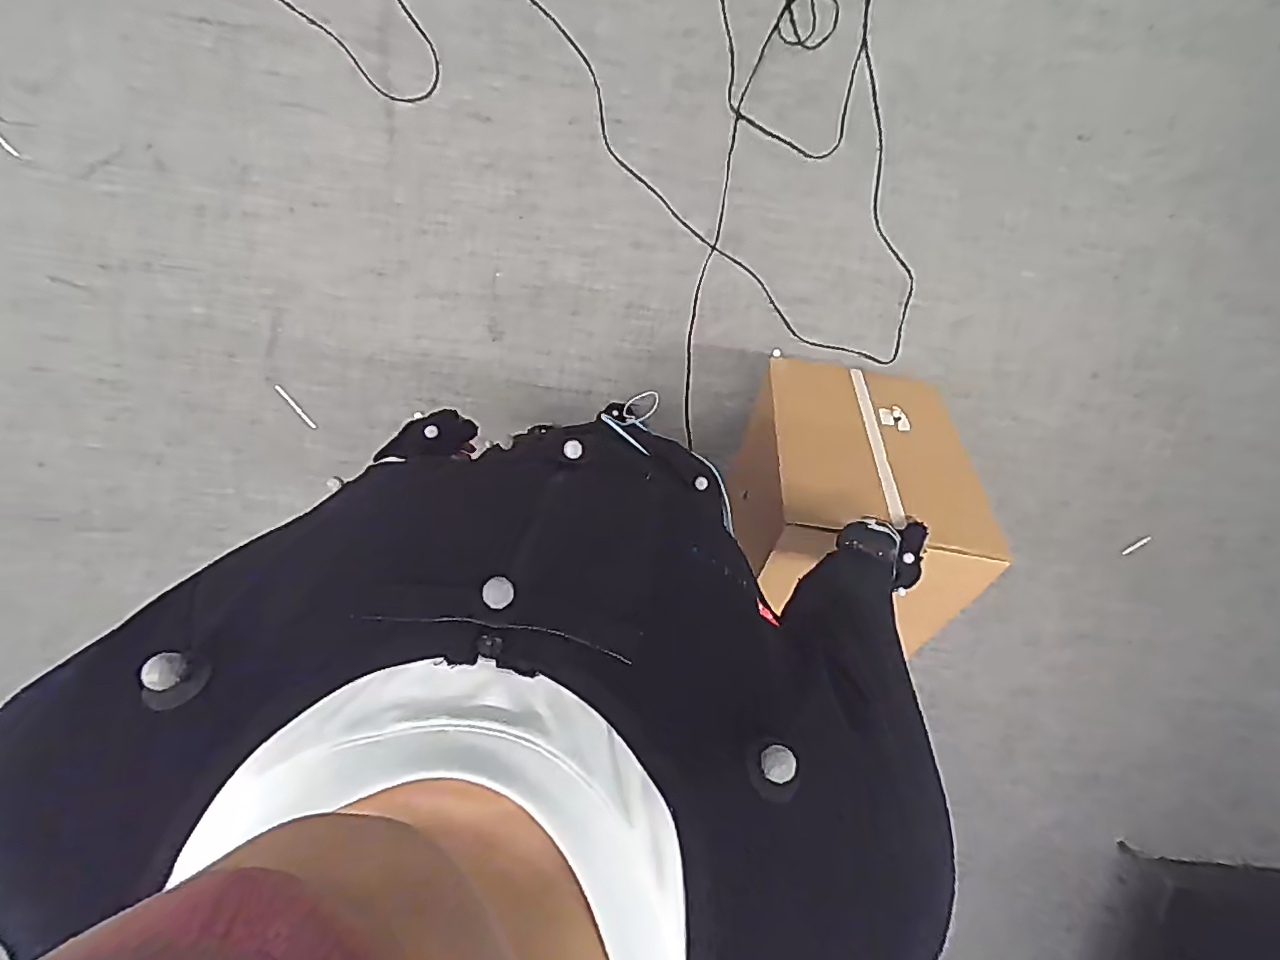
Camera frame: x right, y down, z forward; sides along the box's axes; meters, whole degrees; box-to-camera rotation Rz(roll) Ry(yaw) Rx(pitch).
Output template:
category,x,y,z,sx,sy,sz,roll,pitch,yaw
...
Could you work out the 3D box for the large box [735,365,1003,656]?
category,x,y,z,sx,sy,sz,roll,pitch,yaw
large box,0.354,0.050,0.977,0.320,0.408,0.320,10,136,0
